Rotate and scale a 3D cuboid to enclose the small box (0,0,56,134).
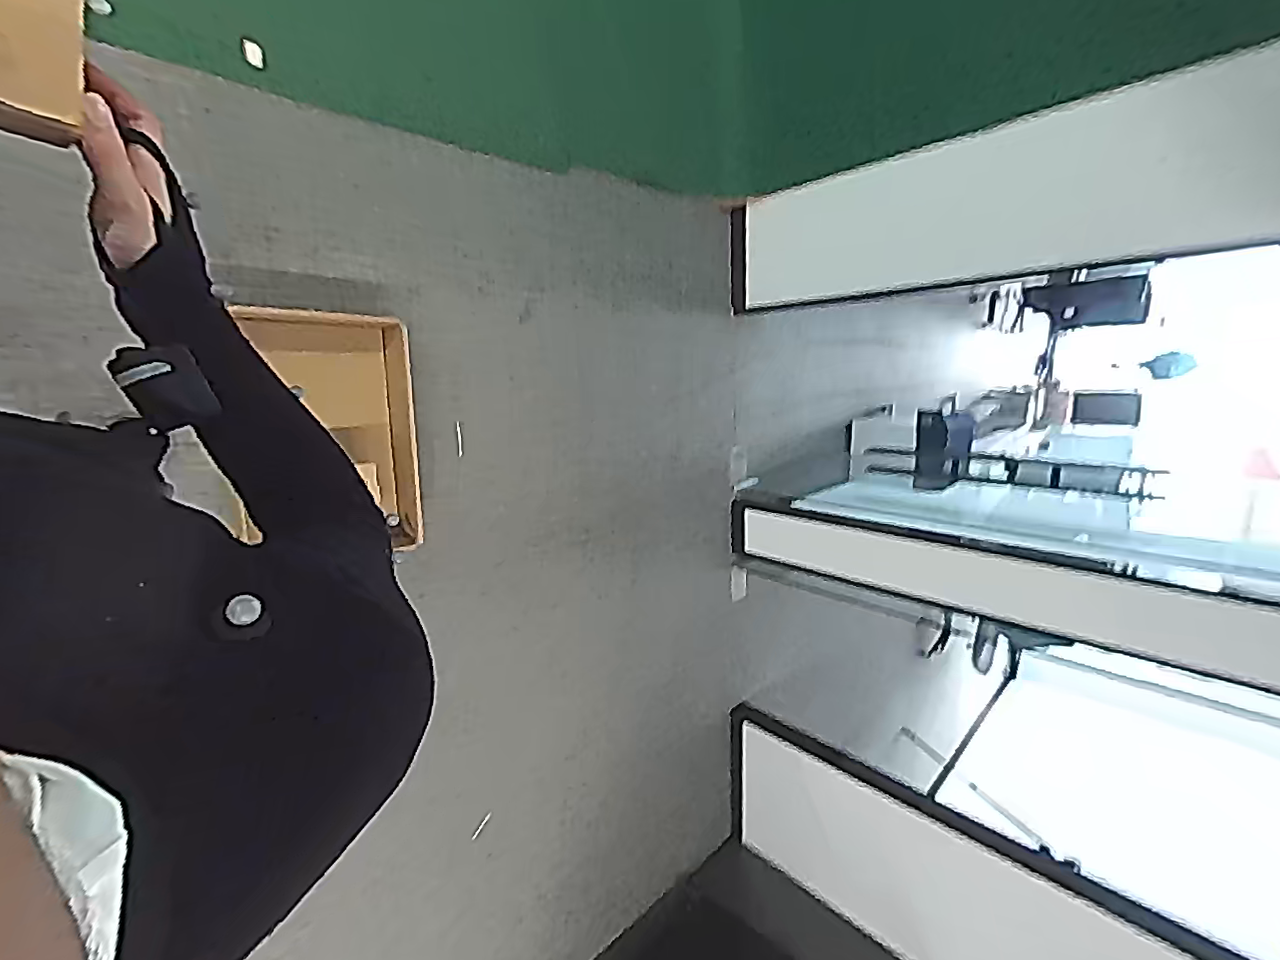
[{"bbox_3d":[-0.435,-0.315,0.290,0.168,0.176,0.179,-2,109,-49],"label":"small box"}]
